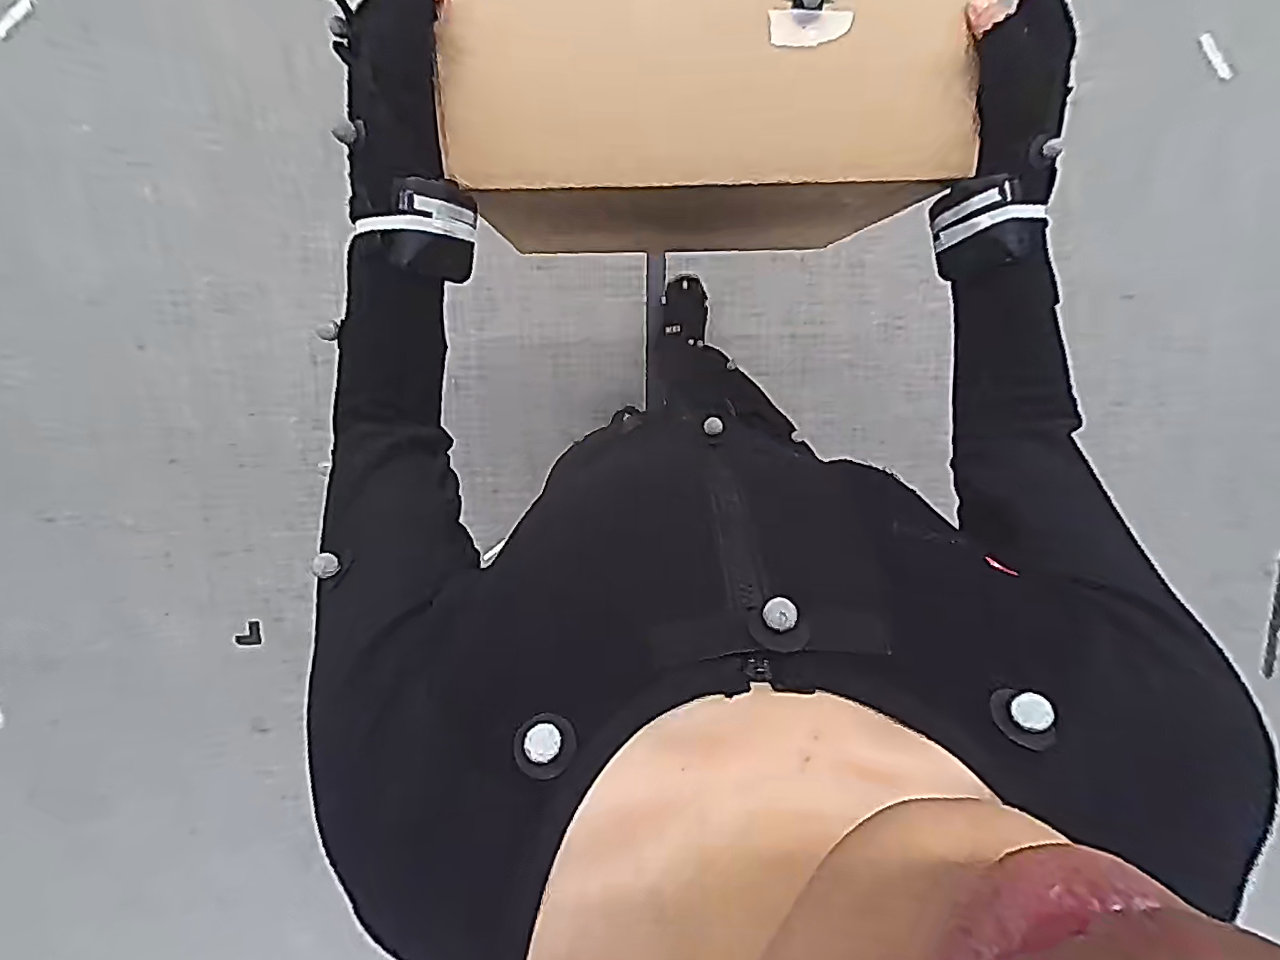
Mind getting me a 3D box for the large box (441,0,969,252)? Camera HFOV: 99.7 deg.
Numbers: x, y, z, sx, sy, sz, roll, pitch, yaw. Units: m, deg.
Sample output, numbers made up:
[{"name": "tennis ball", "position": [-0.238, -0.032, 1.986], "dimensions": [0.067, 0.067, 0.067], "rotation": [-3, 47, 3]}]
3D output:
[{"name": "large box", "position": [0.042, -0.423, 0.538], "dimensions": [0.408, 0.320, 0.320], "rotation": [-2, 105, -2]}]
